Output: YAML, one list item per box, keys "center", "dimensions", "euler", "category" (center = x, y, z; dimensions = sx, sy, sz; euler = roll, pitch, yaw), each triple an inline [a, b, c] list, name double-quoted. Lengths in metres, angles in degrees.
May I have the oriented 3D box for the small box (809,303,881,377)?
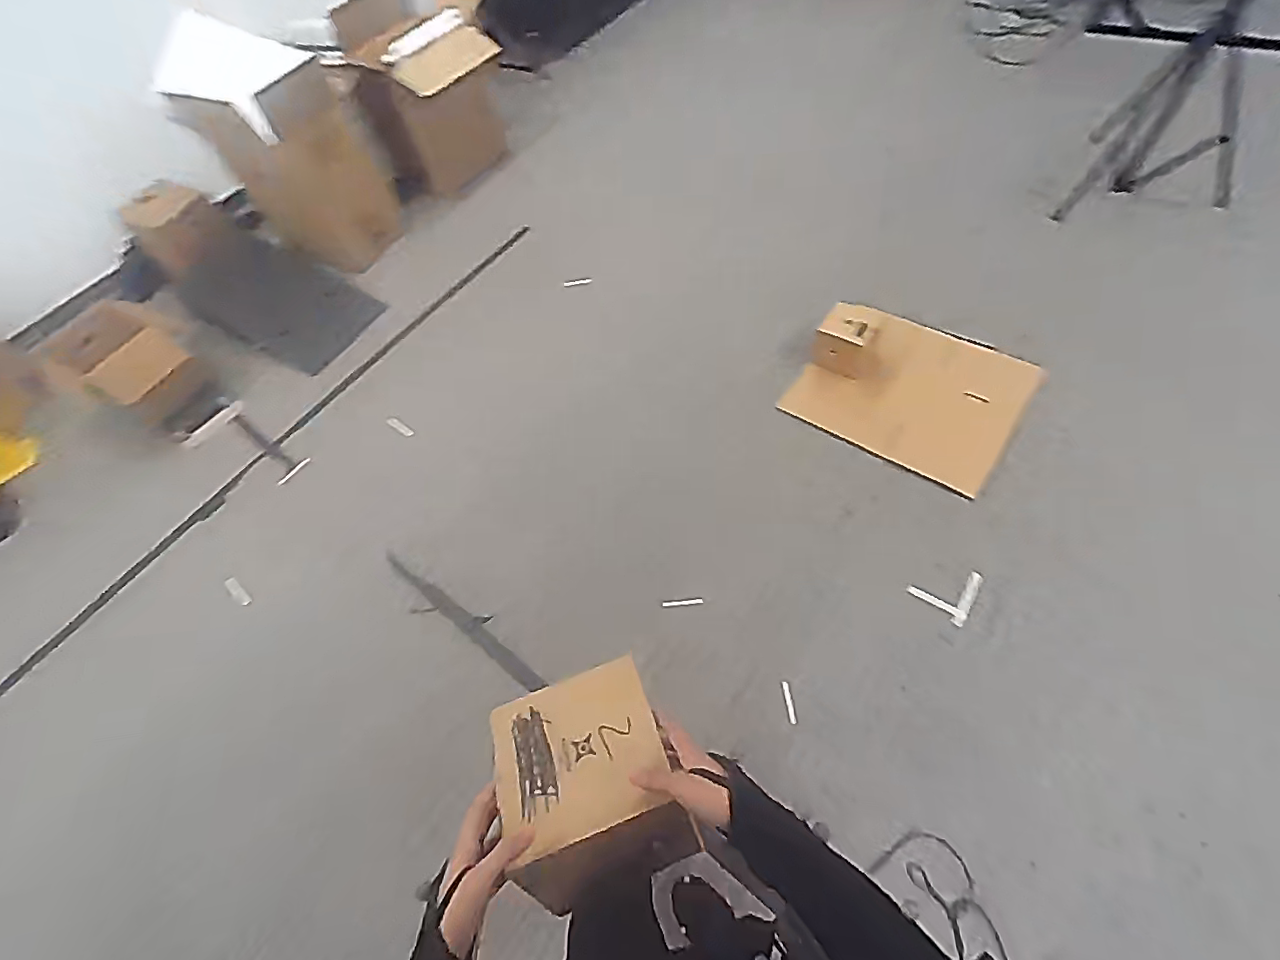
- center: [0.731, -0.496, 1.944]
  dimensions: [0.179, 0.176, 0.168]
  euler: [30, 68, 26]
  category: "small box"
